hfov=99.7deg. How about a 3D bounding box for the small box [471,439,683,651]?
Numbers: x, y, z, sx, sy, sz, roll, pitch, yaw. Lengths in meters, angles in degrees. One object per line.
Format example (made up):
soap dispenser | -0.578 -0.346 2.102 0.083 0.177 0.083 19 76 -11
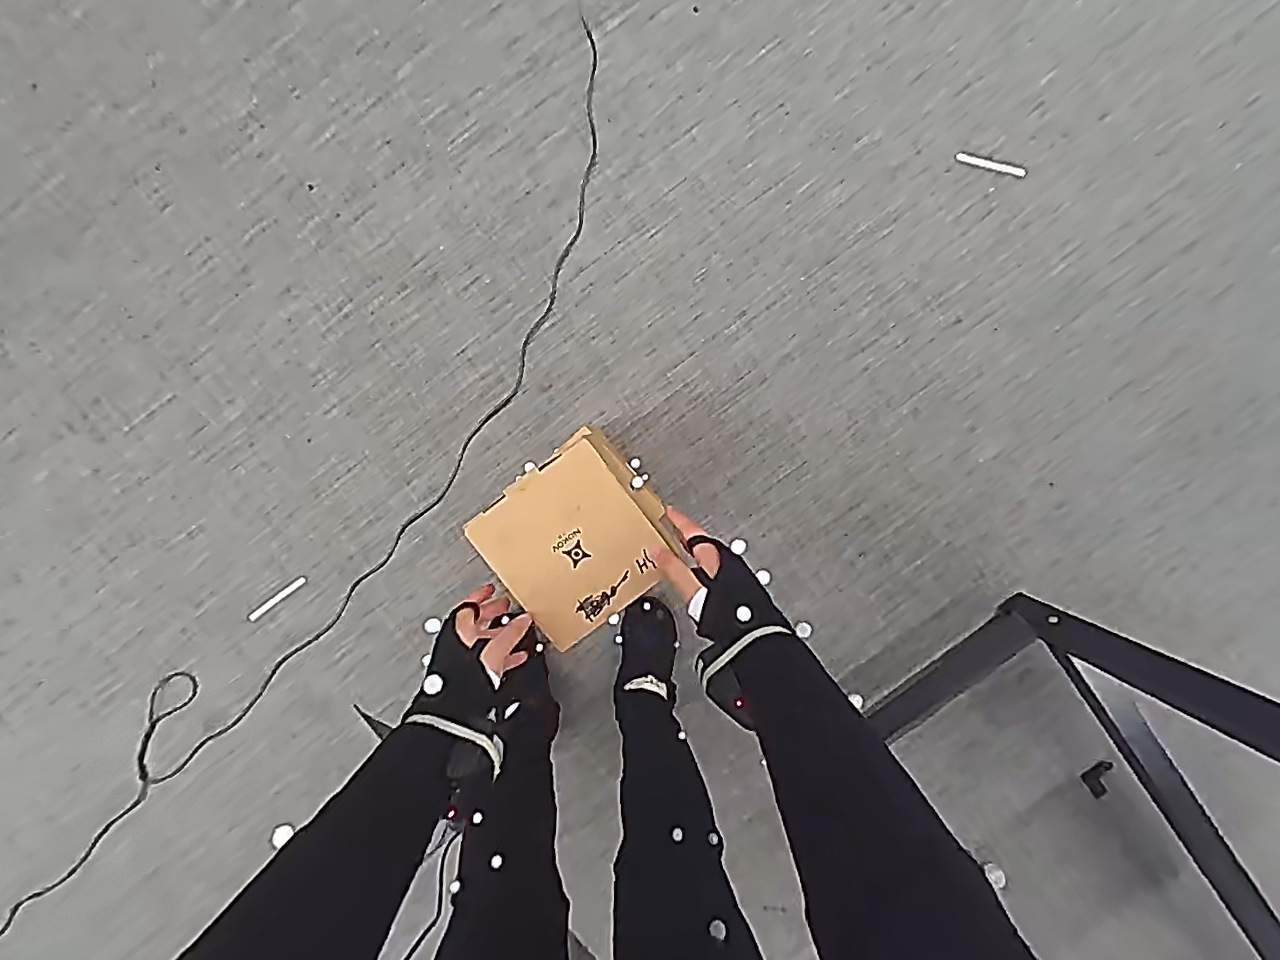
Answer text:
small box | -0.070 0.067 0.660 0.168 0.176 0.179 -37 95 2

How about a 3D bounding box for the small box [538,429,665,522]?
small box | -0.082 0.041 0.822 0.179 0.176 0.168 -44 95 1
